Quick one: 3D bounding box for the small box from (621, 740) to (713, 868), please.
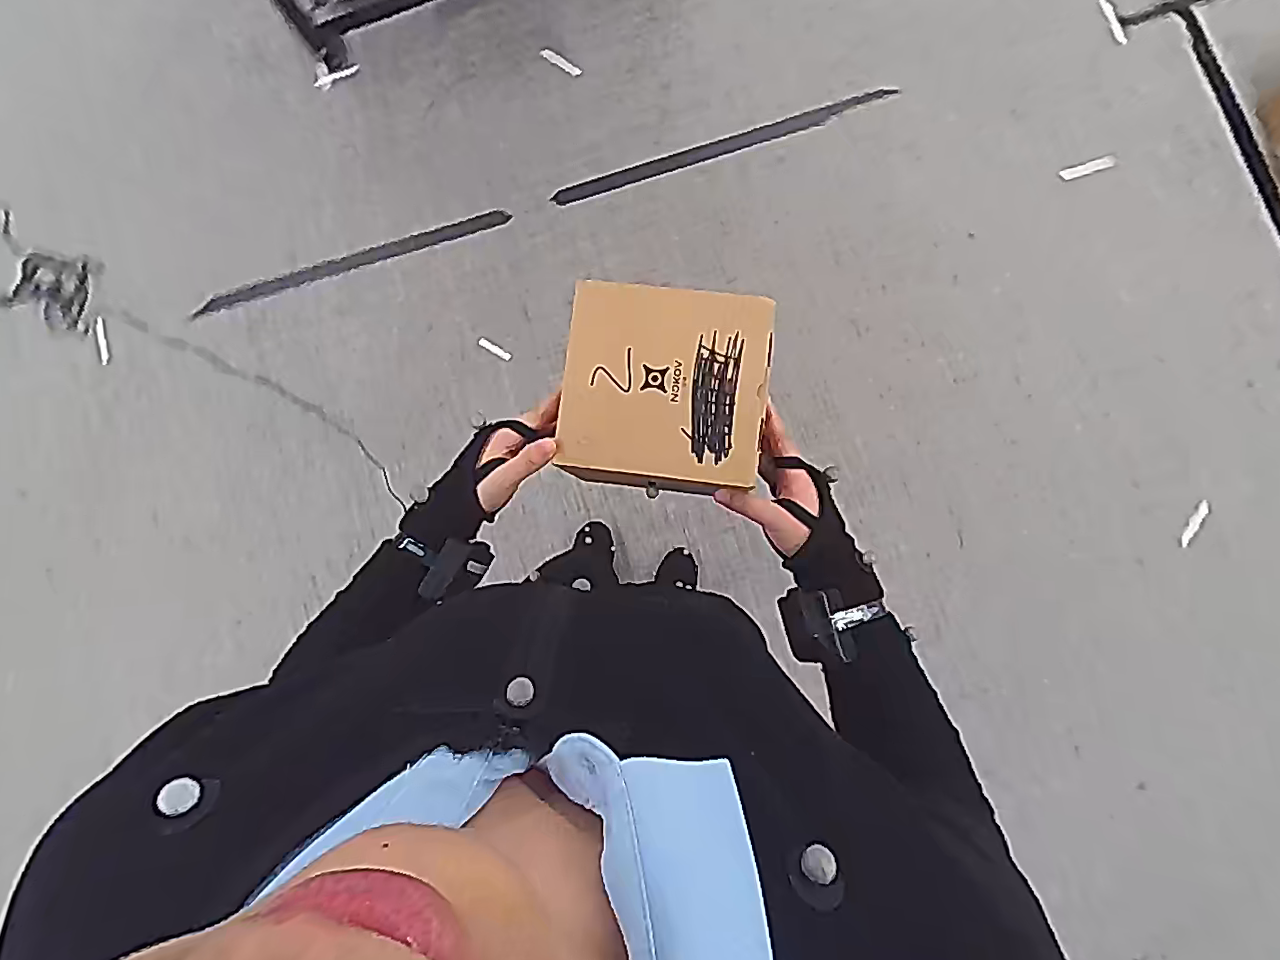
[{"bbox_3d":[0.061,0.709,1.198,0.168,0.176,0.179,-12,83,2],"label":"small box"}]
